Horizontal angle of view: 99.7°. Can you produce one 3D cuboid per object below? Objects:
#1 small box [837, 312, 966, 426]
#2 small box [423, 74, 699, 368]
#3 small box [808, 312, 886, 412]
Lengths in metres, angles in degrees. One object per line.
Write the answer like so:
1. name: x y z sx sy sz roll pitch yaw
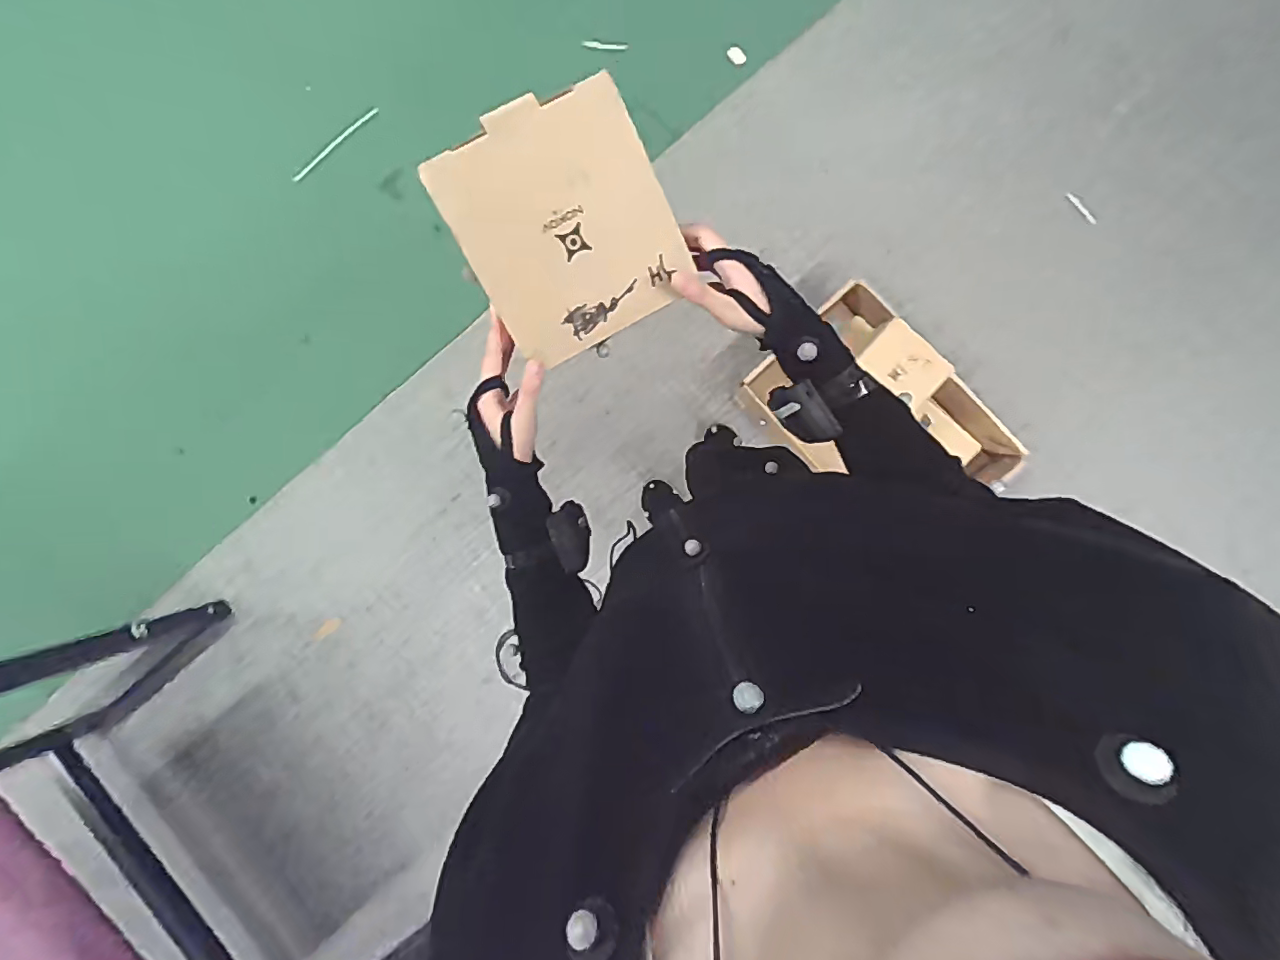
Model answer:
1. small box: 0.562 -0.234 1.199 0.168 0.176 0.179 43 94 0
2. small box: -0.071 -0.221 0.513 0.168 0.176 0.179 -30 106 -1
3. small box: 0.553 -0.286 1.361 0.179 0.176 0.168 45 94 0
